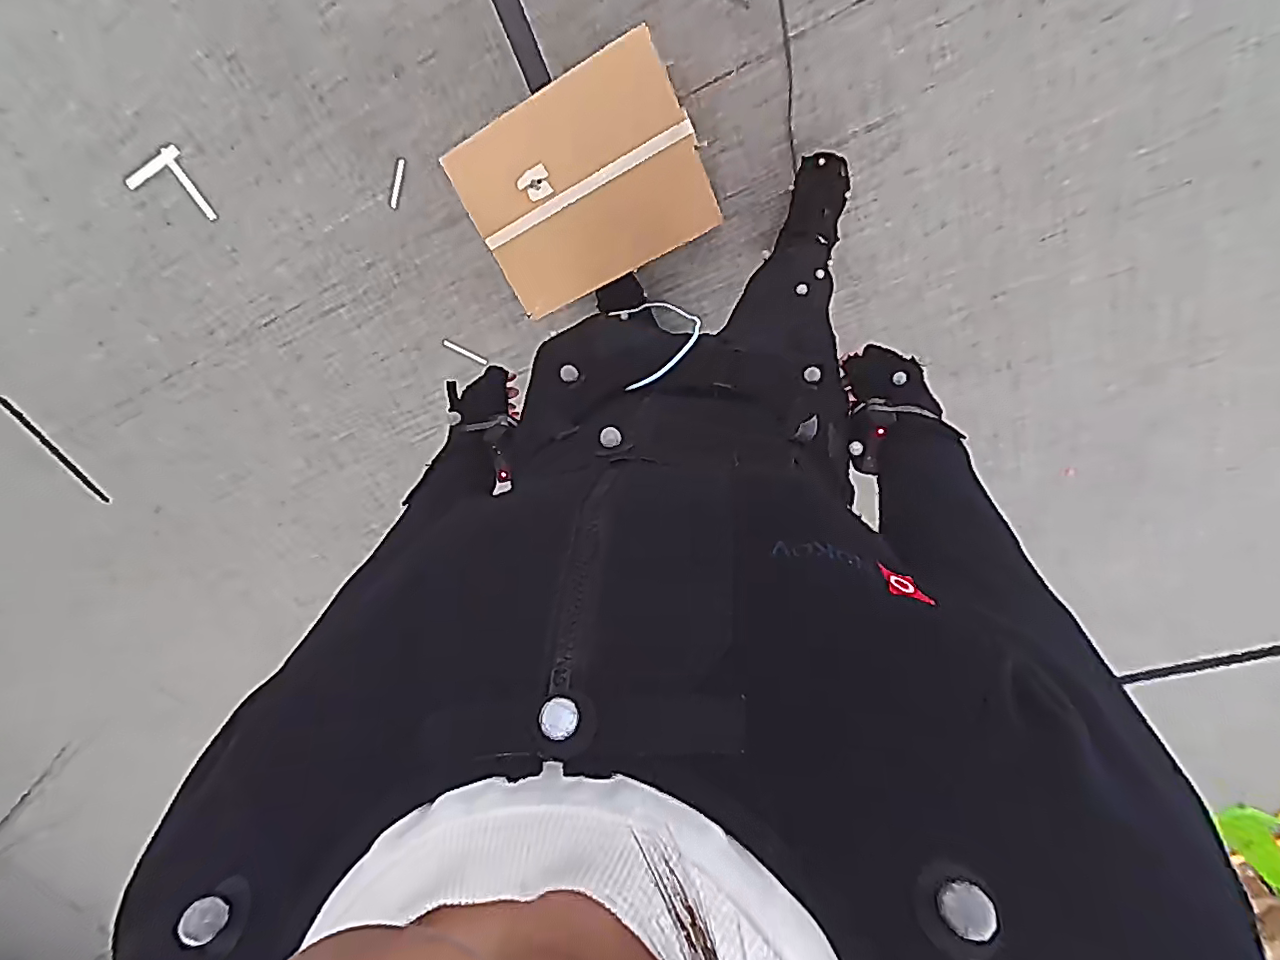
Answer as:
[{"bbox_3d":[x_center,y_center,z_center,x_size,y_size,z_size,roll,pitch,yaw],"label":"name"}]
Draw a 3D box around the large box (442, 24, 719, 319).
[{"bbox_3d":[-0.088,-0.577,1.065,0.408,0.320,0.320,-21,114,18],"label":"large box"}]
